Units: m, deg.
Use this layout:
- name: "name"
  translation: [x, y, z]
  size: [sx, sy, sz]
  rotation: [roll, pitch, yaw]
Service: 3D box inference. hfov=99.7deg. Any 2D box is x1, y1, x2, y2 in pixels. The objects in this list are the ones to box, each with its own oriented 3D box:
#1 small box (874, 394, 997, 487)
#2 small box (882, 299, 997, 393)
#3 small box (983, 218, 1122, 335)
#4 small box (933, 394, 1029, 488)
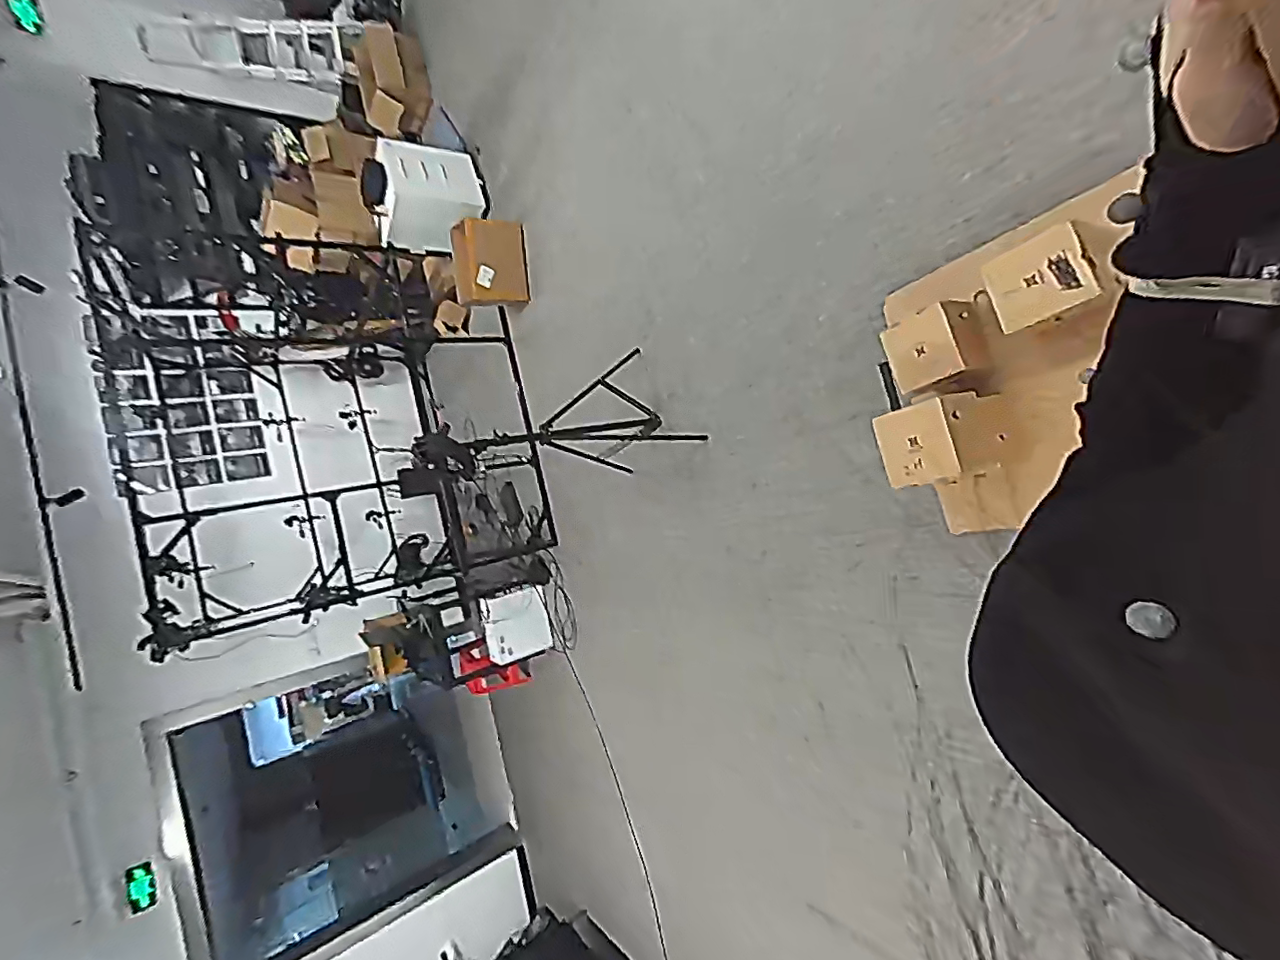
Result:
- name: "small box"
  translation: [0.676, -0.093, 1.237]
  size: [0.168, 0.176, 0.179]
  rotation: [-21, 83, 56]
- name: "small box"
  translation: [0.751, -0.333, 1.355]
  size: [0.168, 0.176, 0.179]
  rotation: [-27, 78, 55]
- name: "small box"
  translation: [0.877, -0.424, 1.145]
  size: [0.179, 0.176, 0.168]
  rotation: [-26, 79, 55]
- name: "small box"
  translation: [0.815, -0.098, 1.329]
  size: [0.168, 0.176, 0.179]
  rotation: [-27, 79, 54]
